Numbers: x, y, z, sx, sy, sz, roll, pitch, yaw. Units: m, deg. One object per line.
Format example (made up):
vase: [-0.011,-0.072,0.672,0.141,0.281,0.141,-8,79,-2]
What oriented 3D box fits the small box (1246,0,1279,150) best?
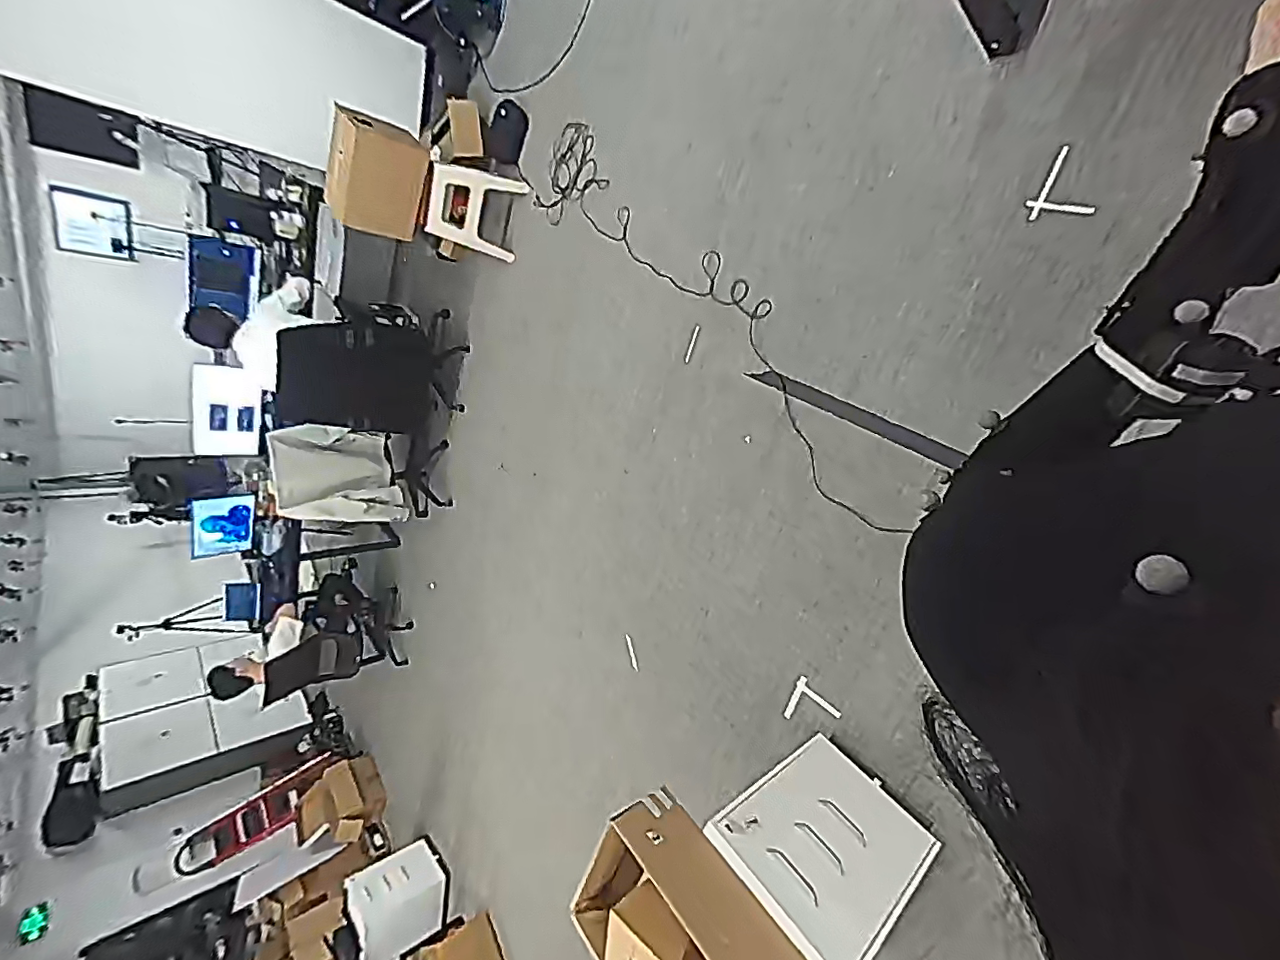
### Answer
small box: [0.450,-0.282,0.244,0.179,0.176,0.168,6,97,27]
